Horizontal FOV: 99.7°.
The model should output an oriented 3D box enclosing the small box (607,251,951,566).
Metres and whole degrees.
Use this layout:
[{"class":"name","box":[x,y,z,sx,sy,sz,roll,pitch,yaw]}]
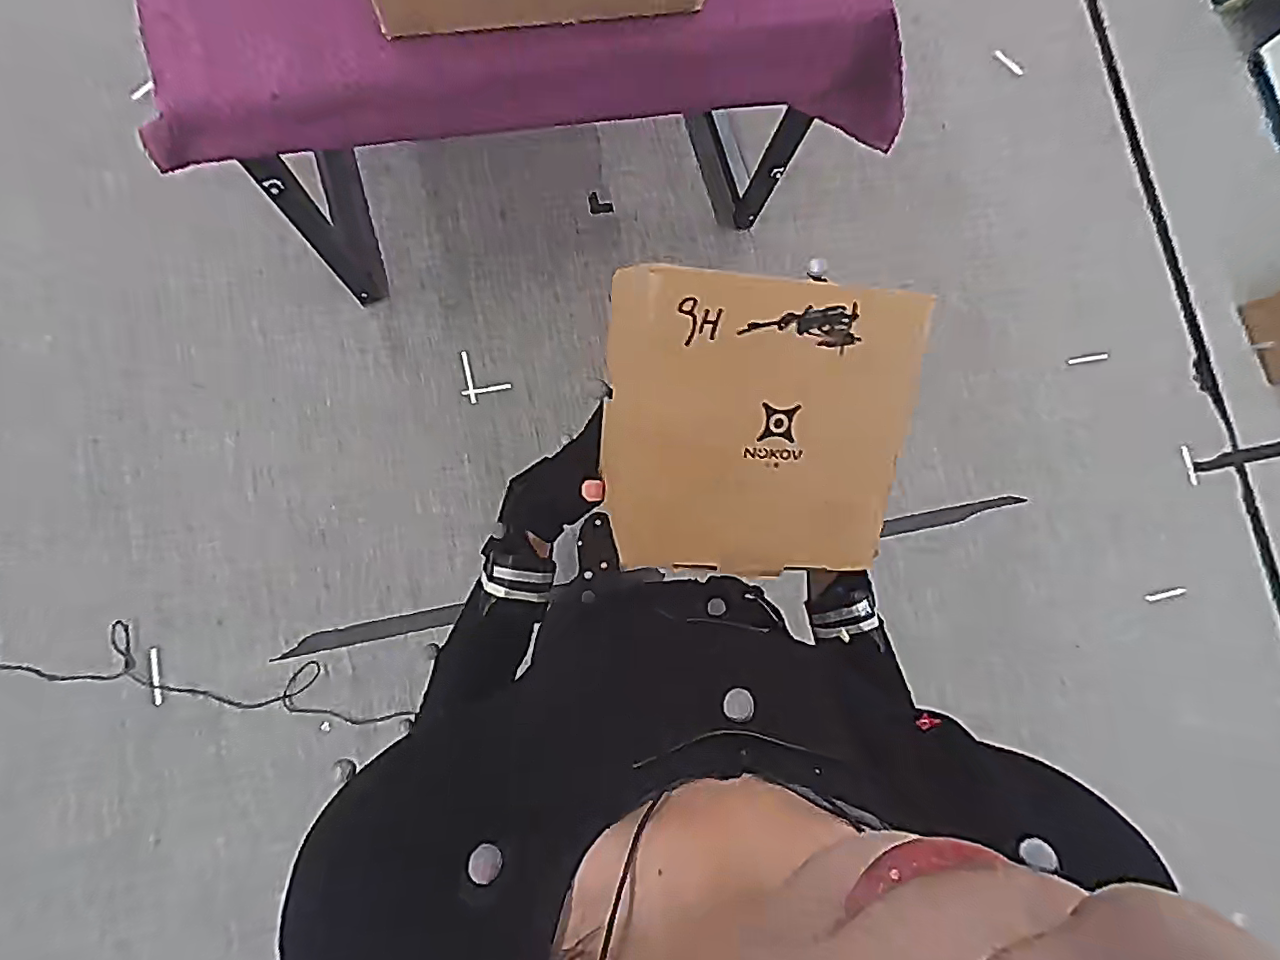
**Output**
[{"class":"small box","box":[0.069,-0.057,0.382,0.168,0.176,0.179,2,110,-10]}]
